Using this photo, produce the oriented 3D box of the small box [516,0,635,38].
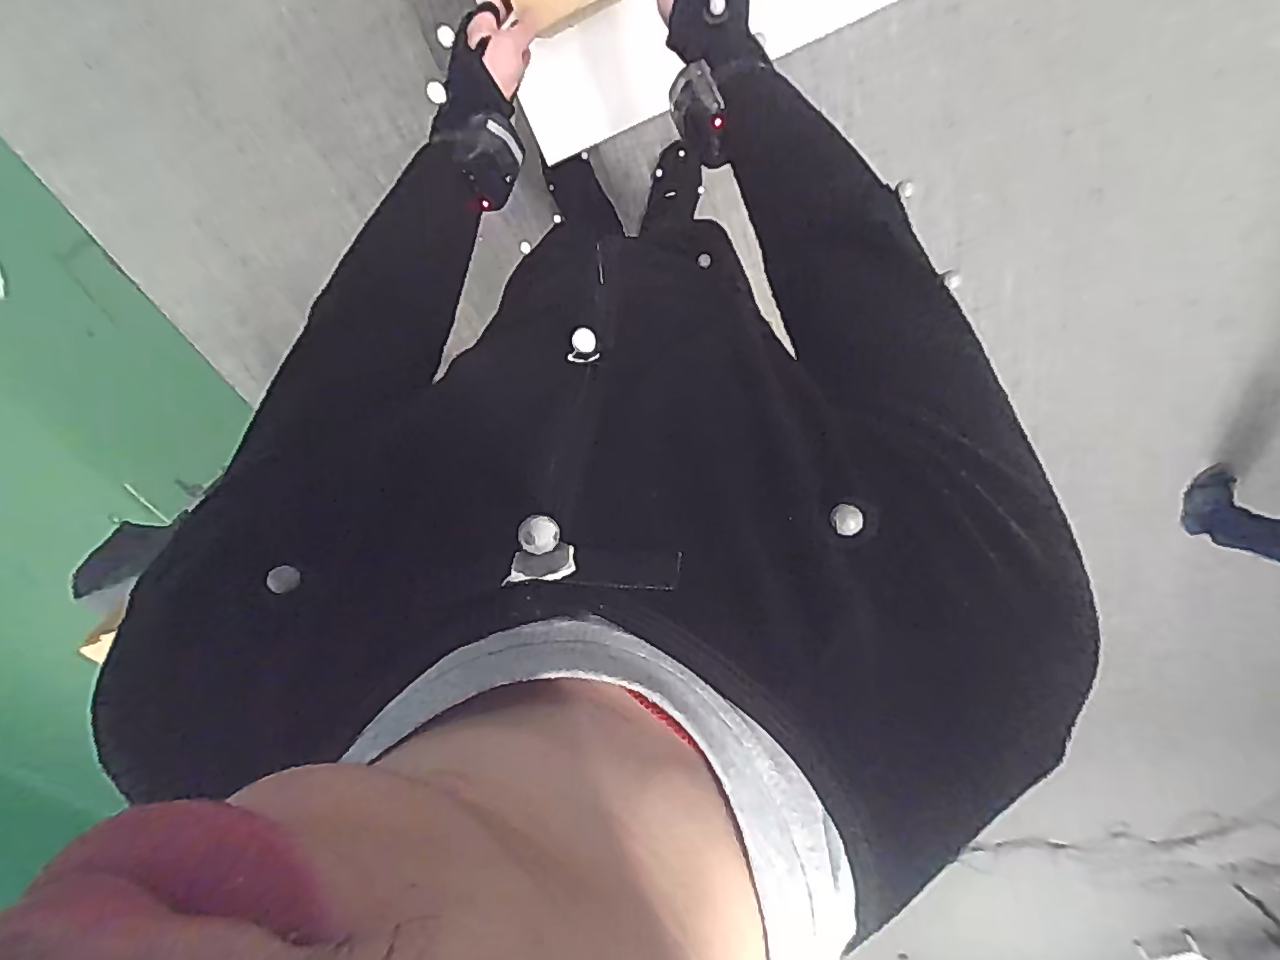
[{"bbox_3d":[-0.052,-0.550,0.505,0.179,0.176,0.168,-17,126,13],"label":"small box"}]
